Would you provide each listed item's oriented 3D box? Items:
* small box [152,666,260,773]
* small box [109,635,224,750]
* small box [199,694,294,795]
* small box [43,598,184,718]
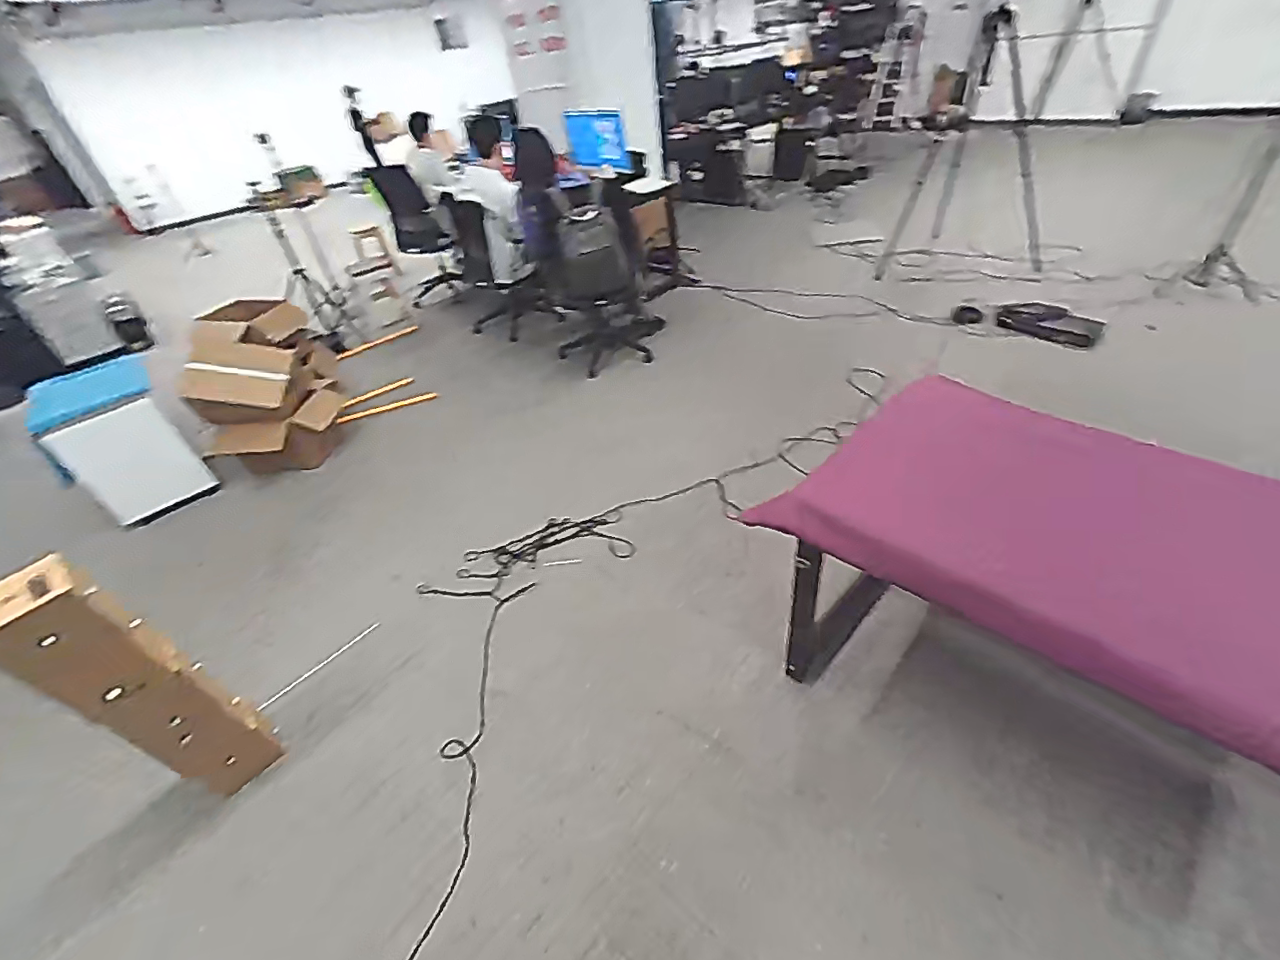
[{"bbox_3d":[-1.203,0.663,1.491,0.168,0.176,0.179,28,52,36],"label":"small box"},{"bbox_3d":[-1.211,0.541,1.382,0.168,0.176,0.179,25,50,35],"label":"small box"},{"bbox_3d":[-1.175,0.784,1.599,0.168,0.176,0.179,27,51,36],"label":"small box"},{"bbox_3d":[-1.233,0.421,1.274,0.179,0.176,0.168,26,51,34],"label":"small box"}]
